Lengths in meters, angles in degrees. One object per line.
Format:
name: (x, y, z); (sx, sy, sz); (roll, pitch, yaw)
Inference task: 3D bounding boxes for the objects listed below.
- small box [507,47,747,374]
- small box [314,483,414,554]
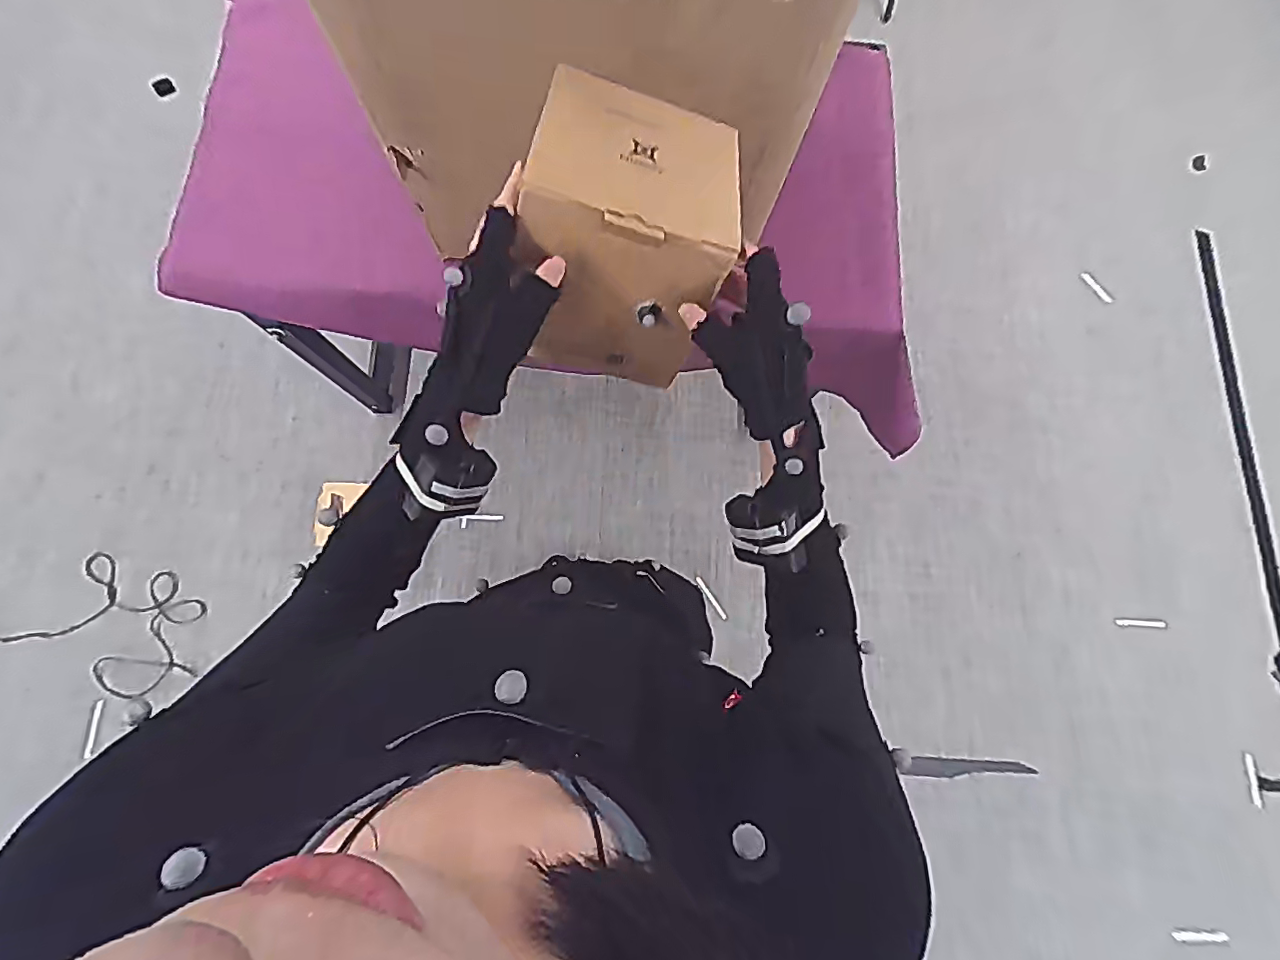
small box: (-0.018, -0.221, 0.475); (0.168, 0.176, 0.179); (12, 58, -13)
small box: (-0.723, 0.107, 1.431); (0.179, 0.176, 0.168); (2, 78, -4)
